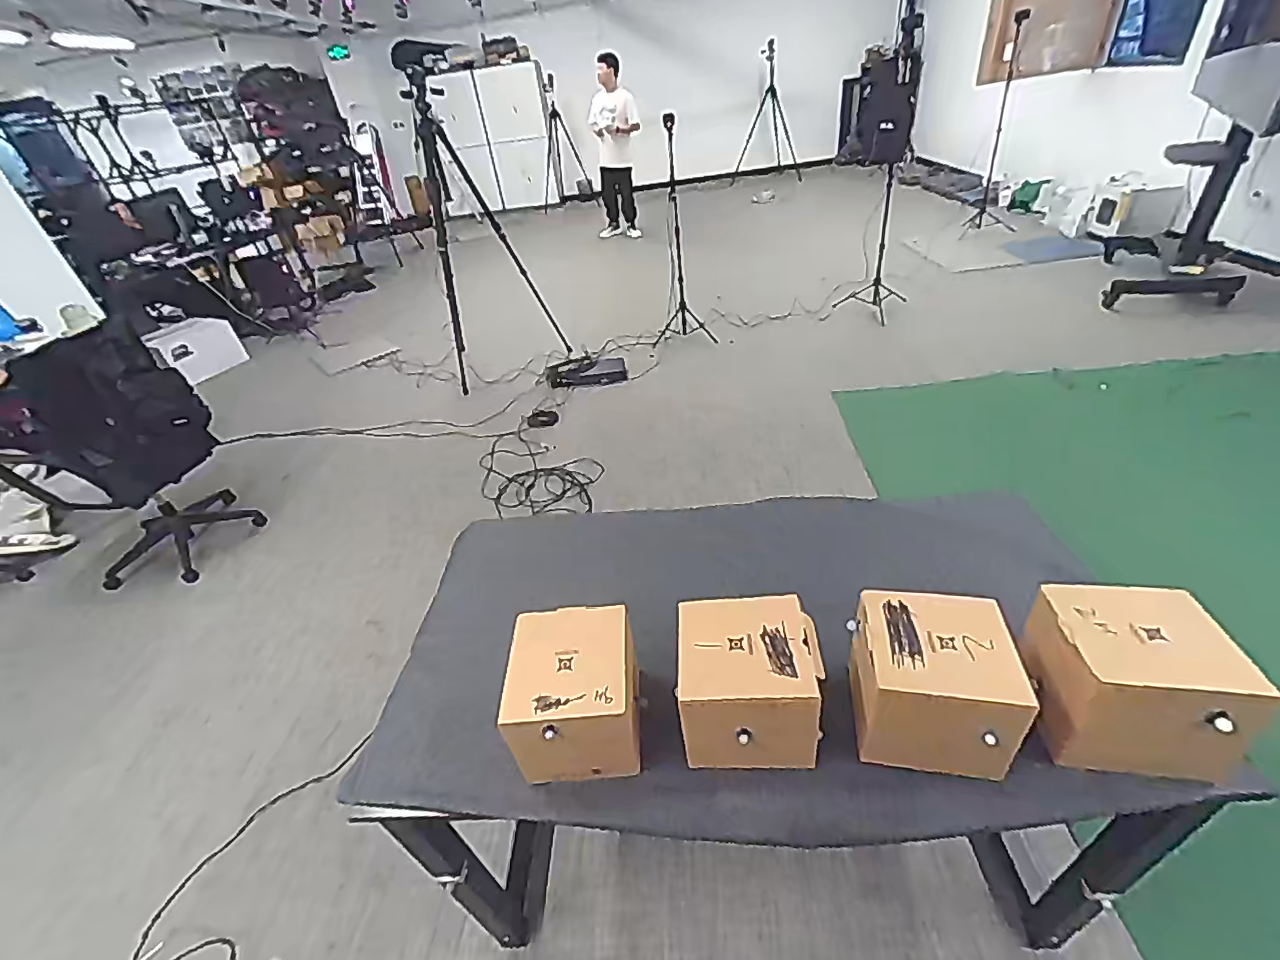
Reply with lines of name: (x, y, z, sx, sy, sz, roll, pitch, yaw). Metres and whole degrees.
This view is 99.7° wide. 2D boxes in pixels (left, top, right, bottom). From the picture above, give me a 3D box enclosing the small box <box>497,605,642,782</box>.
small box: (-0.091, 0.310, 0.790, 0.168, 0.176, 0.179, -7, 36, 5)
